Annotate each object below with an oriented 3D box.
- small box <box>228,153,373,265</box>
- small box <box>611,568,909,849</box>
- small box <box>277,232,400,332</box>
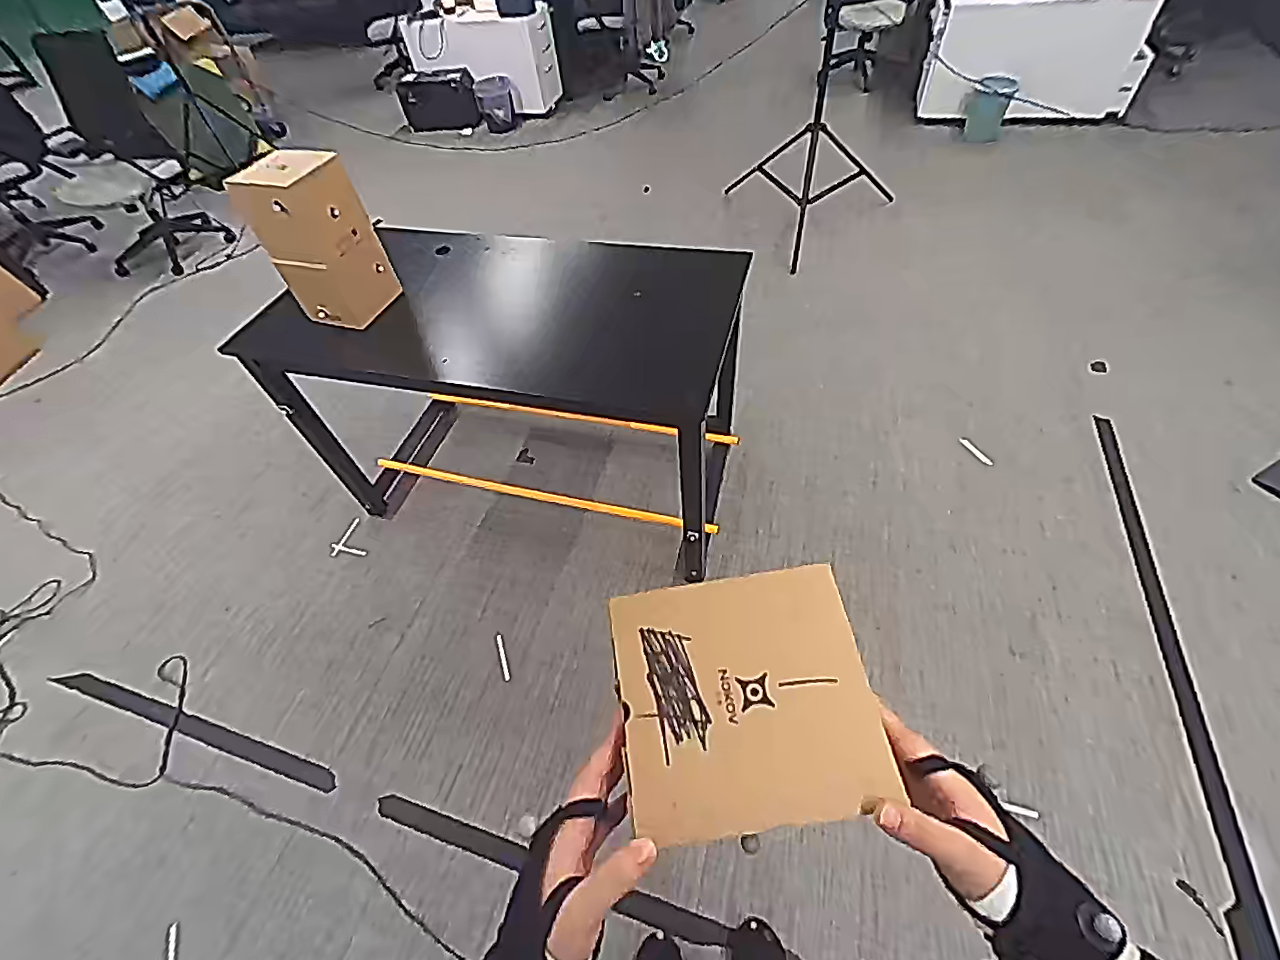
[{"bbox_3d":[-0.739,-0.598,1.199,0.179,0.176,0.168,12,53,16],"label":"small box"},{"bbox_3d":[0.081,0.190,0.445,0.179,0.176,0.168,-9,60,0],"label":"small box"},{"bbox_3d":[-0.721,-0.490,1.323,0.168,0.176,0.179,12,55,16],"label":"small box"}]
